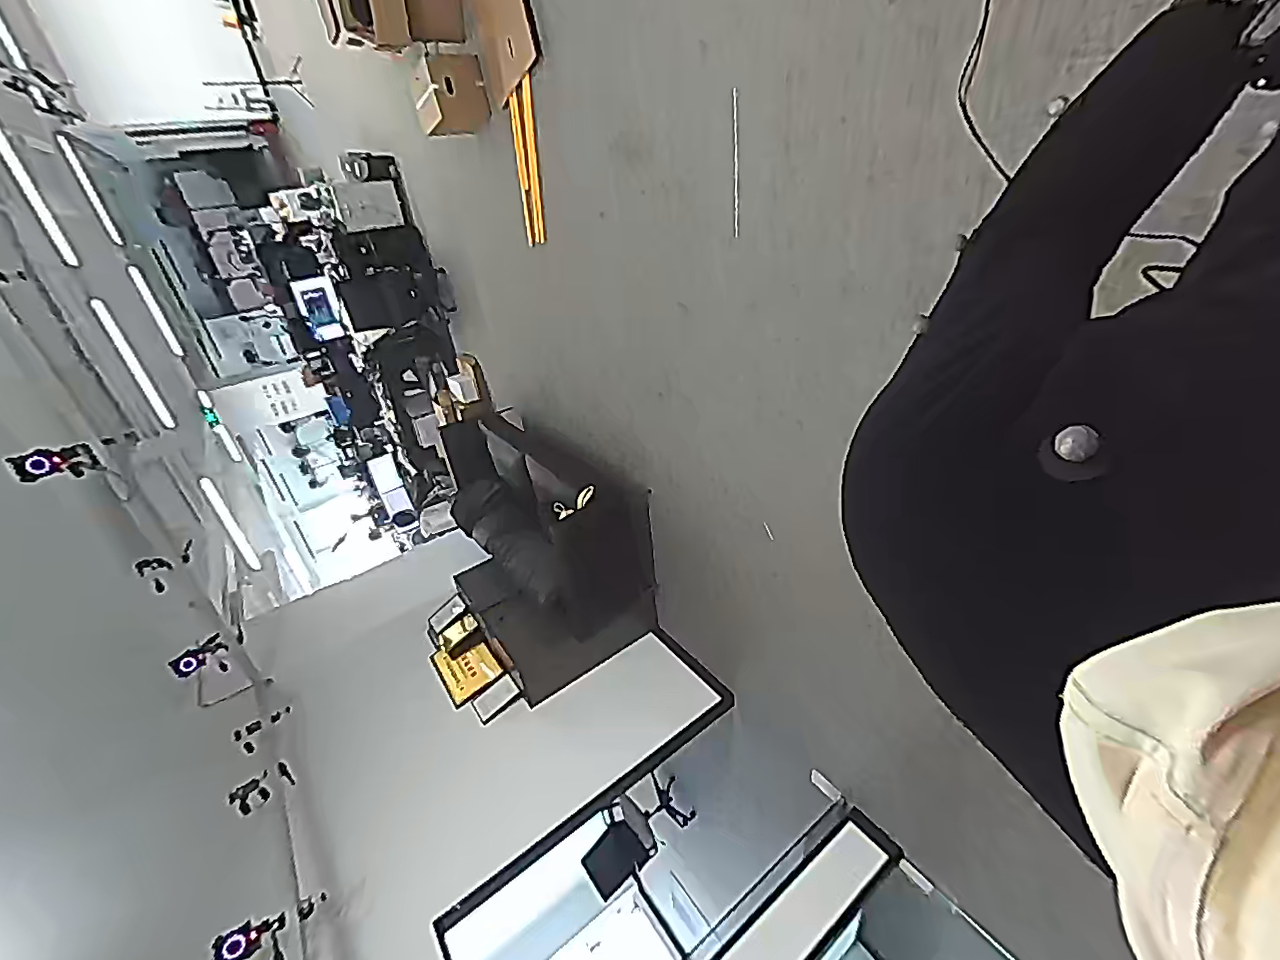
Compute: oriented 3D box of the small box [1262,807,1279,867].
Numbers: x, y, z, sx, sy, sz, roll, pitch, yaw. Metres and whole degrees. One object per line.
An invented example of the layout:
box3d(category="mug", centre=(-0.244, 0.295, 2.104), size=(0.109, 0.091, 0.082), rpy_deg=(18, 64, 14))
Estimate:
box3d(category="small box", centre=(1.597, 0.835, 1.226), size=(0.179, 0.176, 0.168), rpy_deg=(35, 140, 43))
